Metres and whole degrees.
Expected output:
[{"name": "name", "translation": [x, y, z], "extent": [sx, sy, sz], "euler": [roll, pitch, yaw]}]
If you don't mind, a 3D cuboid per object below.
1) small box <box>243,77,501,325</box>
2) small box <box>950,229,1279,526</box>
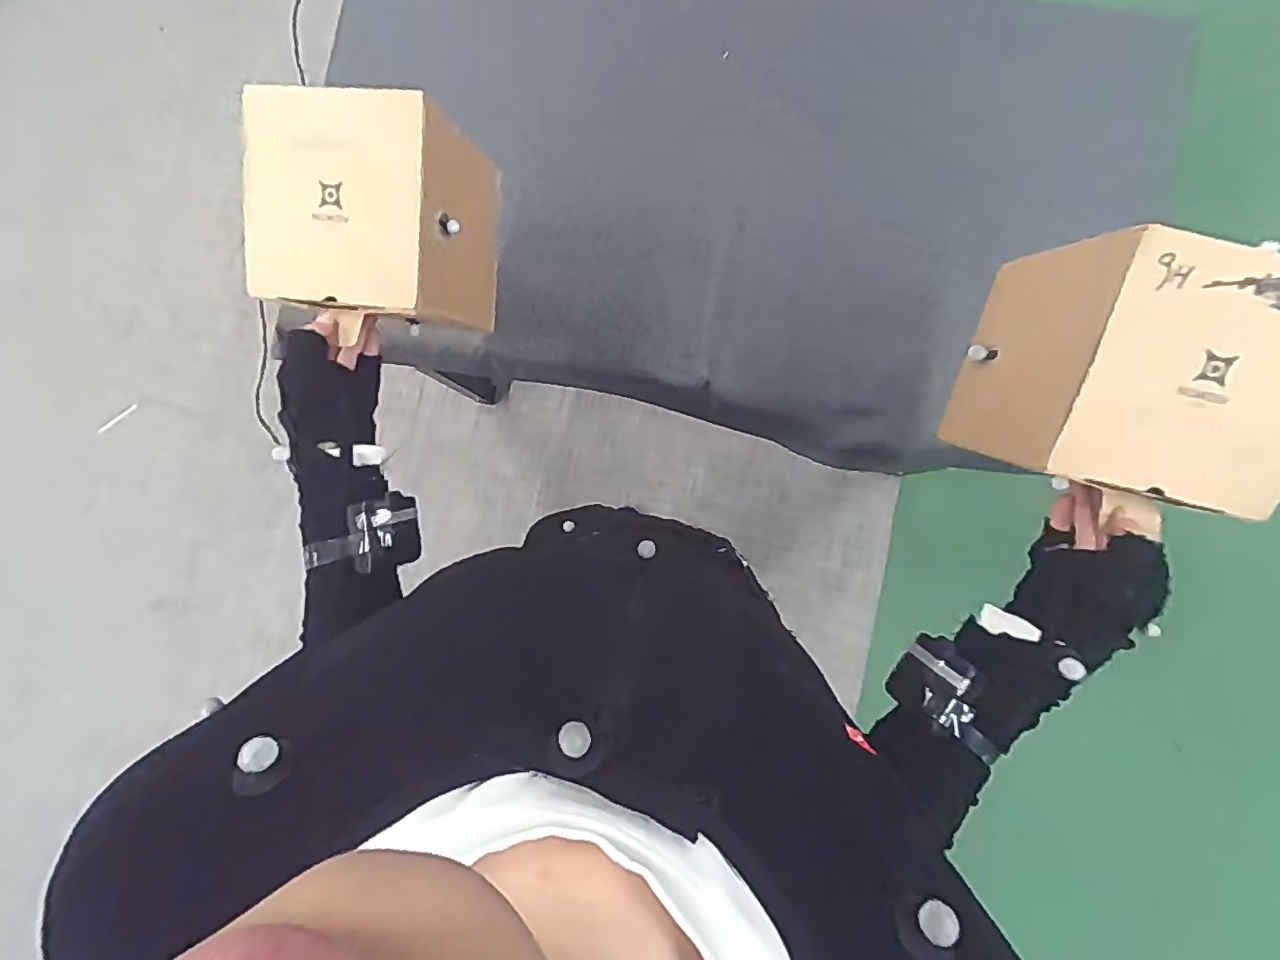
[{"name": "small box", "translation": [-0.248, -0.255, 0.535], "extent": [0.168, 0.176, 0.179], "euler": [7, 100, 6]}, {"name": "small box", "translation": [0.398, -0.085, 0.455], "extent": [0.168, 0.176, 0.179], "euler": [14, 105, 0]}]
